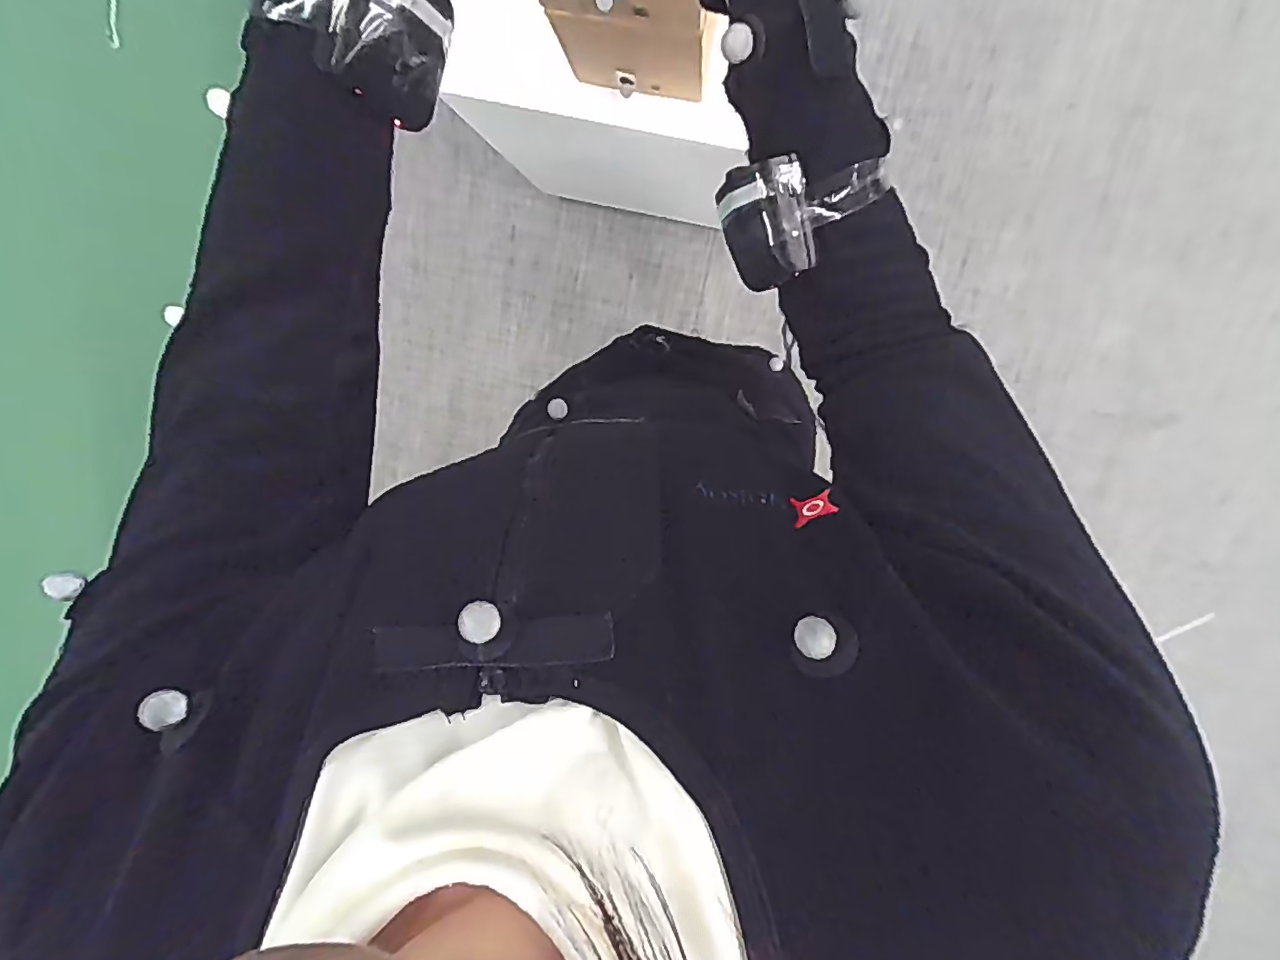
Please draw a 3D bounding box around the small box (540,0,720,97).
[{"bbox_3d":[0.003,-0.556,0.585,0.168,0.176,0.179,11,107,4],"label":"small box"}]

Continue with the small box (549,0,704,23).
[{"bbox_3d":[-0.017,-0.517,0.426,0.168,0.176,0.179,9,104,4],"label":"small box"}]
